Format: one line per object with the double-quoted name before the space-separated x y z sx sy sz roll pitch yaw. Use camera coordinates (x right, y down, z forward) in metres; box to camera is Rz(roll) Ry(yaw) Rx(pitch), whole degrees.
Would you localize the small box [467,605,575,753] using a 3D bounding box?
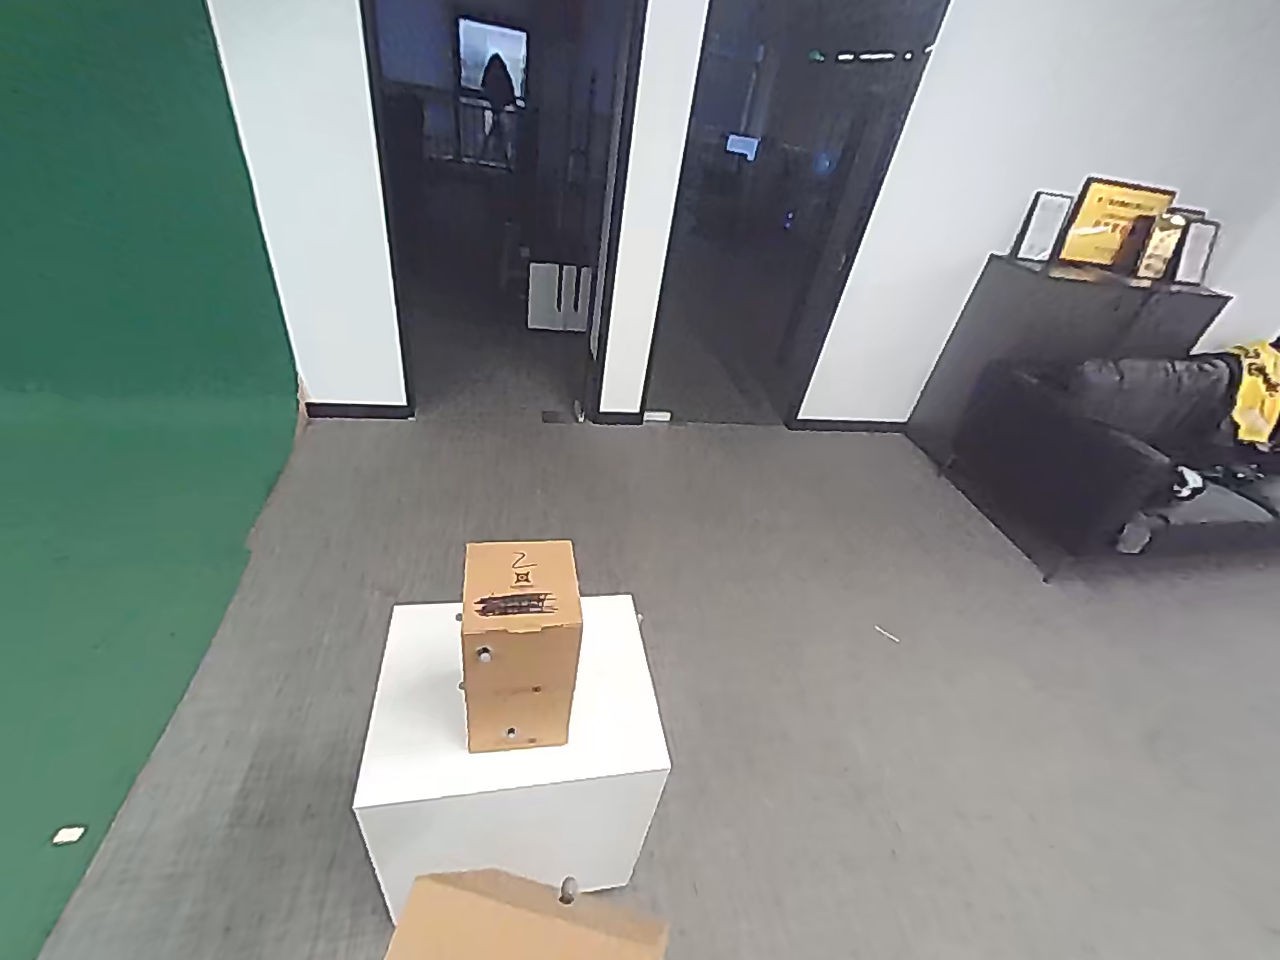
"small box" -0.208 0.339 0.936 0.168 0.176 0.179 1 35 -14
